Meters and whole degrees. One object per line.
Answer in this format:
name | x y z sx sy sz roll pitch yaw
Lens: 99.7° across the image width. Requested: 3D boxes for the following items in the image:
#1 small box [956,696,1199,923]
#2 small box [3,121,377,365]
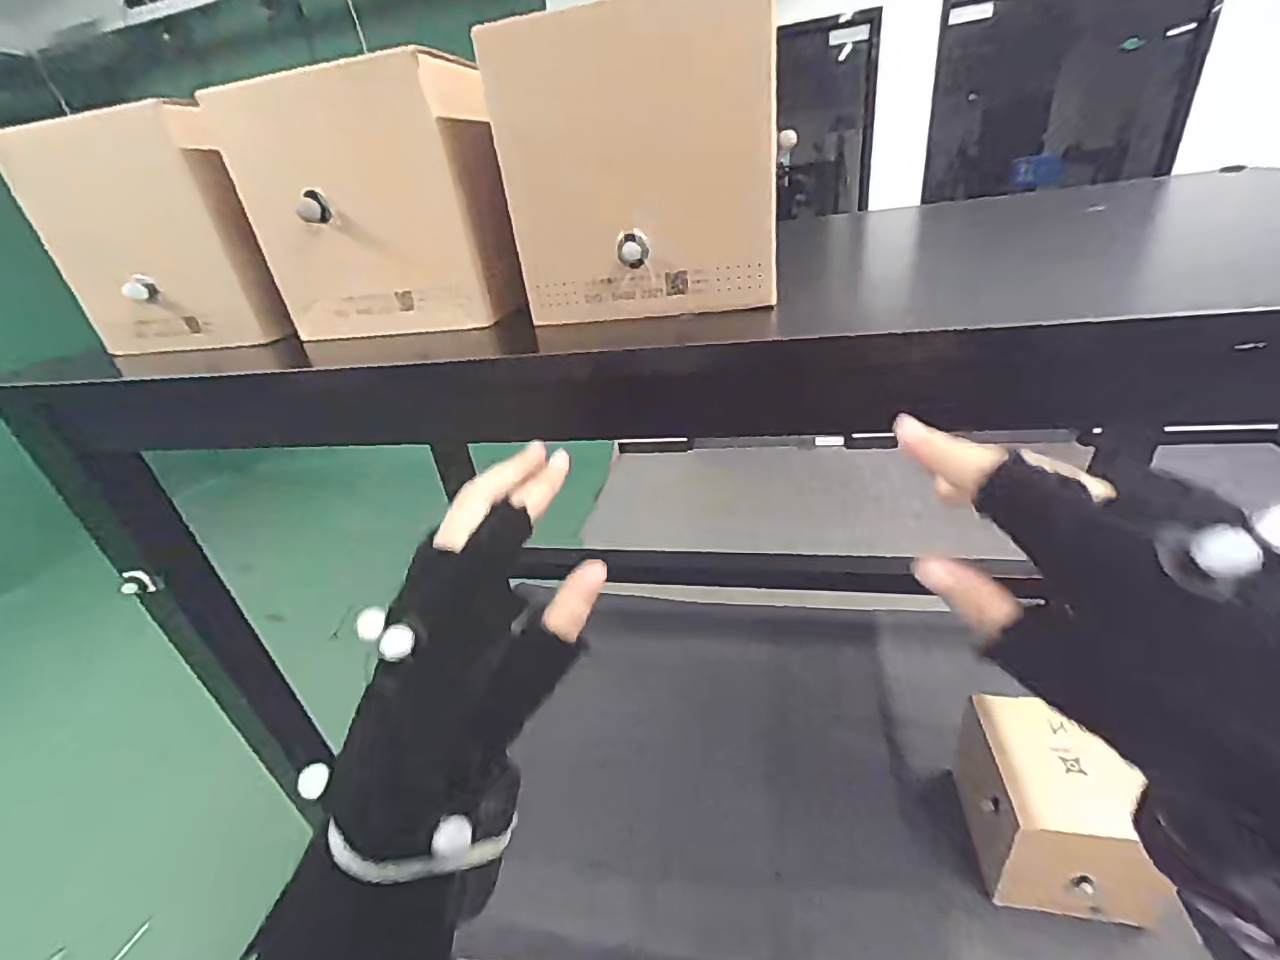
small box | 0.514 0.400 0.669 0.168 0.176 0.179 0 28 14
small box | -0.373 -0.212 0.494 0.168 0.176 0.179 -1 30 13
